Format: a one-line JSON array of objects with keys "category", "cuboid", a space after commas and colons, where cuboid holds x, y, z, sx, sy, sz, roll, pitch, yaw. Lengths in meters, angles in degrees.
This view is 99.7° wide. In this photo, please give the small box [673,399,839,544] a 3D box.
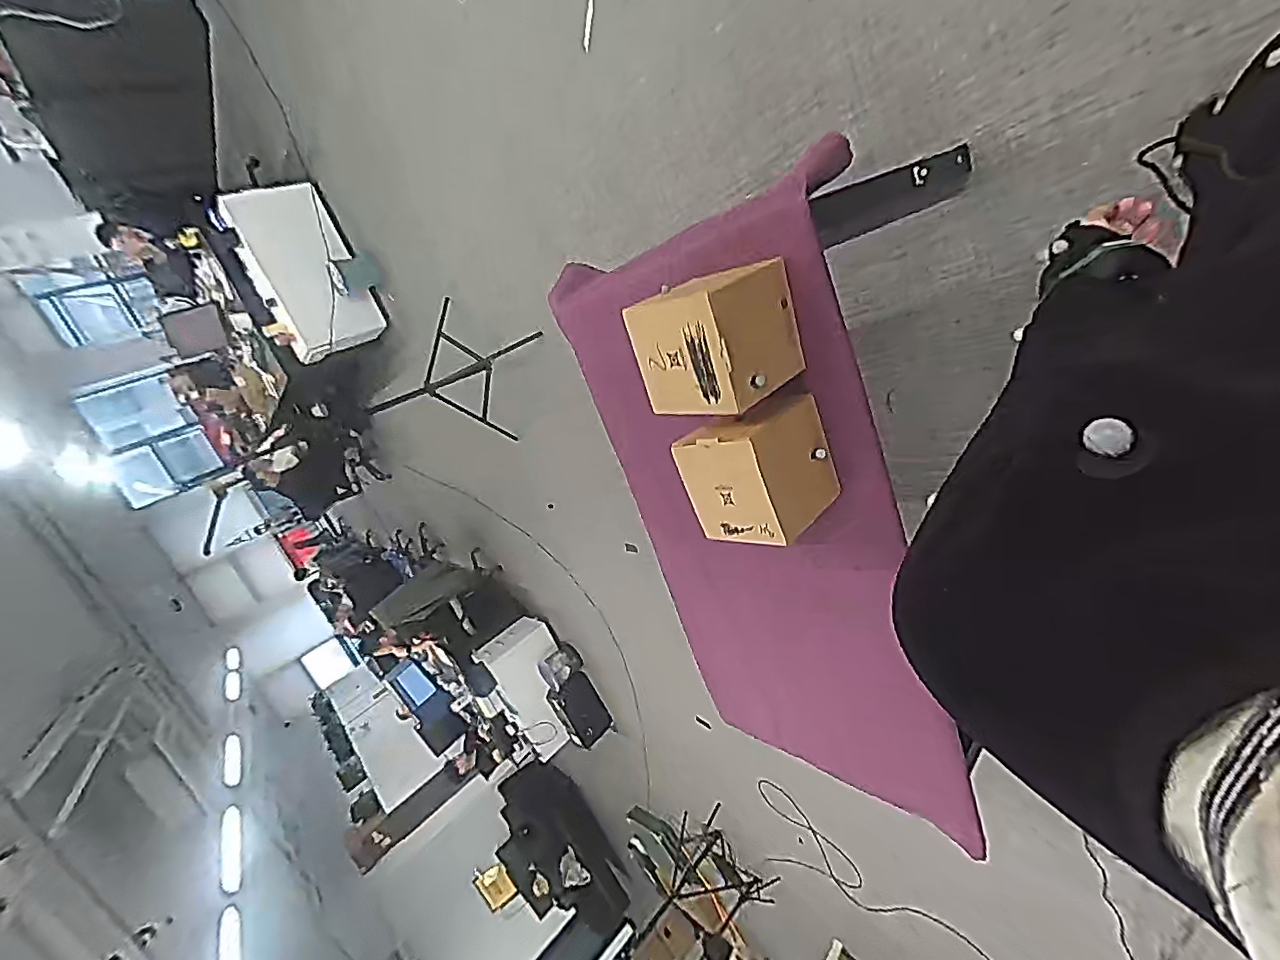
[{"category": "small box", "cuboid": [0.188, -0.019, 0.862, 0.168, 0.176, 0.179, -1, 116, 52]}]
